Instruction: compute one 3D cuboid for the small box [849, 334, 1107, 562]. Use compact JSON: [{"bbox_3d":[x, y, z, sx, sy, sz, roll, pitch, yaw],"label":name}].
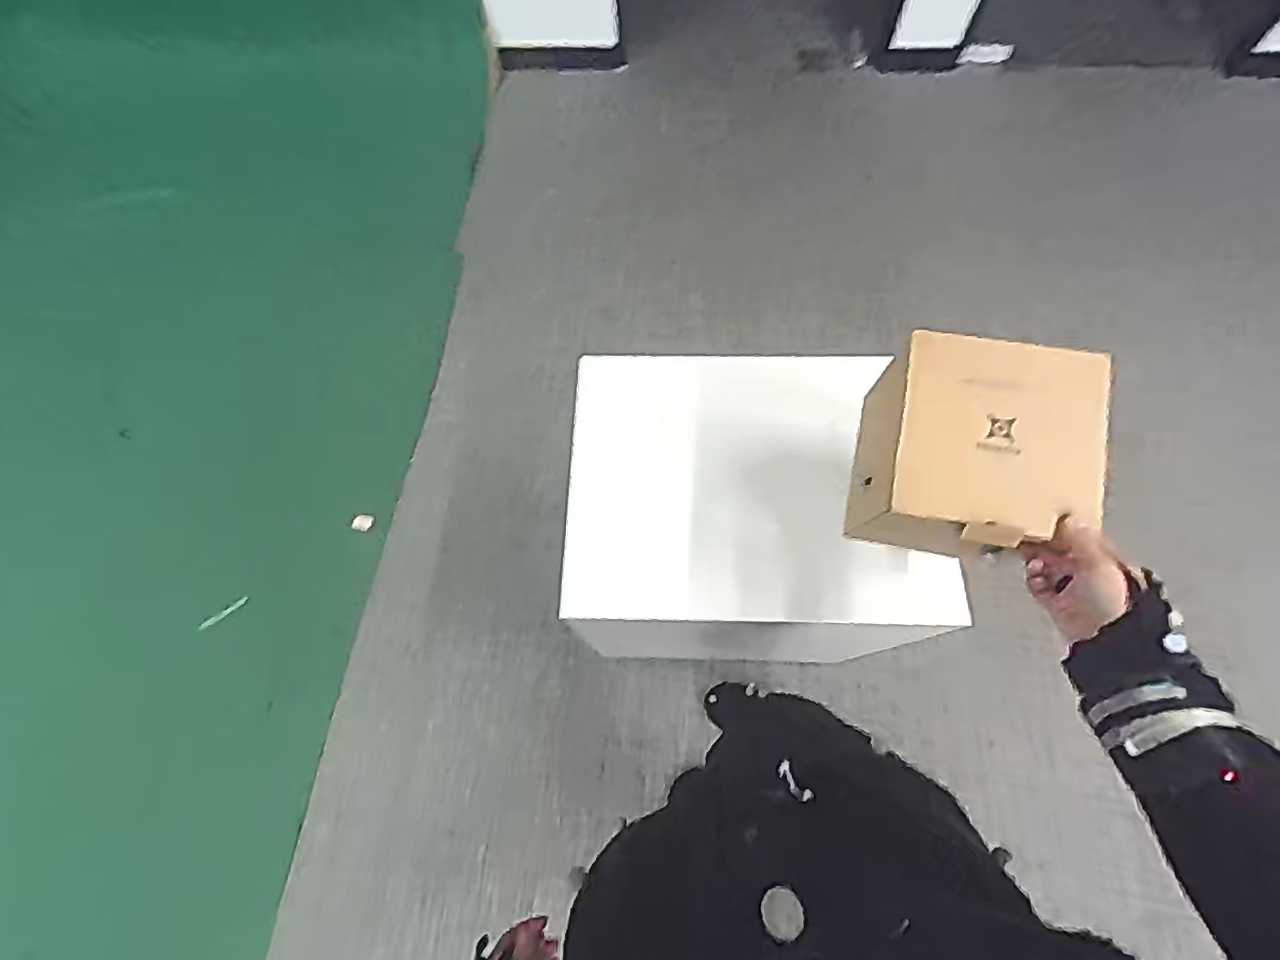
[{"bbox_3d":[0.320,-0.020,0.544,0.168,0.176,0.179,10,77,10],"label":"small box"}]
